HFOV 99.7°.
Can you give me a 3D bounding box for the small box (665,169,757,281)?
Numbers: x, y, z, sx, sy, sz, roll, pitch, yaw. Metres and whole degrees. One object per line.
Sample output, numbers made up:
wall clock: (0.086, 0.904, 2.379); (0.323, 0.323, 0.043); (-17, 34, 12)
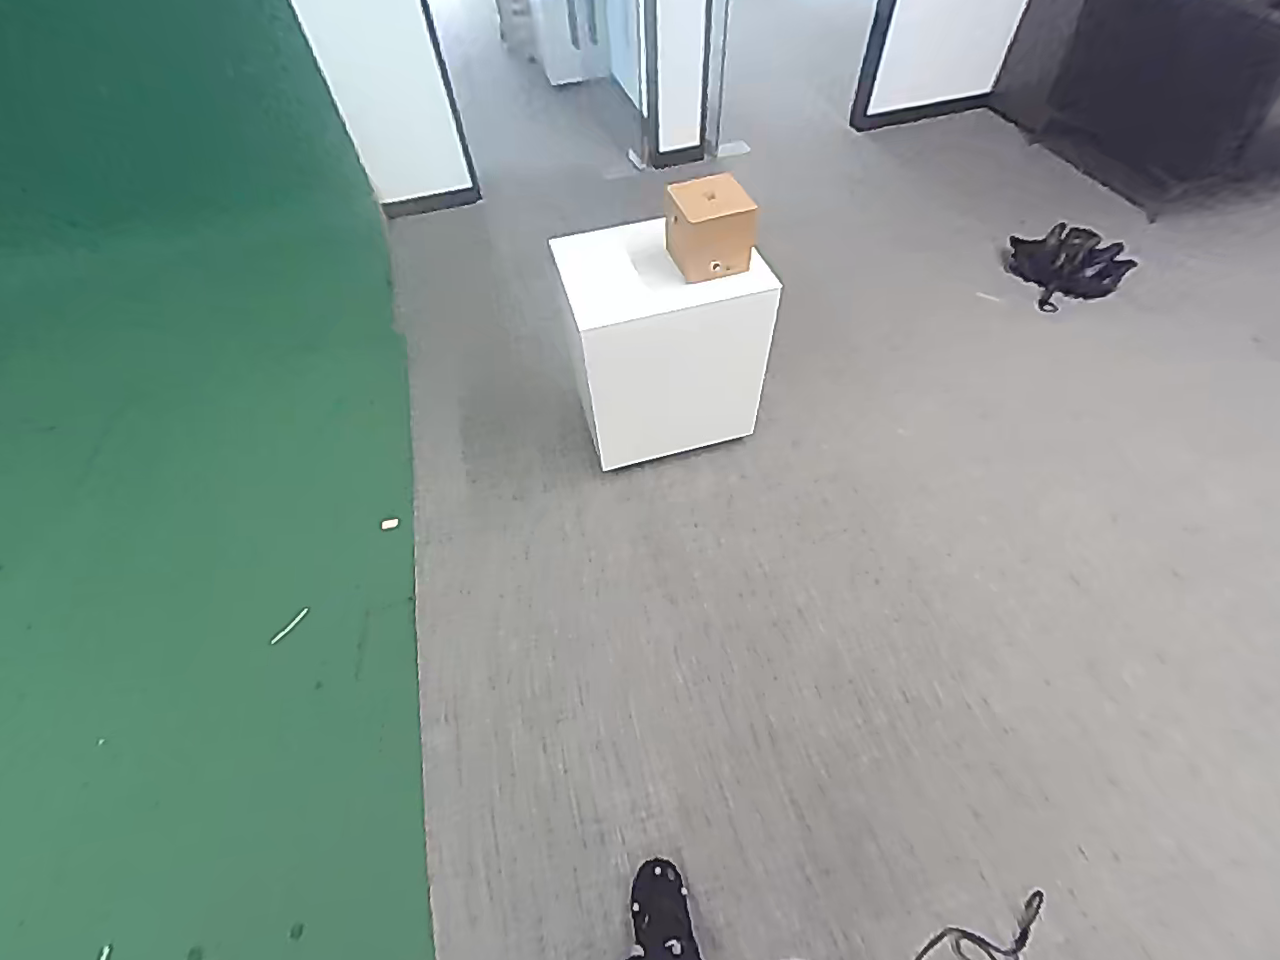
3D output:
small box: (0.164, -0.616, 1.314); (0.168, 0.176, 0.179); (-17, 57, -7)
